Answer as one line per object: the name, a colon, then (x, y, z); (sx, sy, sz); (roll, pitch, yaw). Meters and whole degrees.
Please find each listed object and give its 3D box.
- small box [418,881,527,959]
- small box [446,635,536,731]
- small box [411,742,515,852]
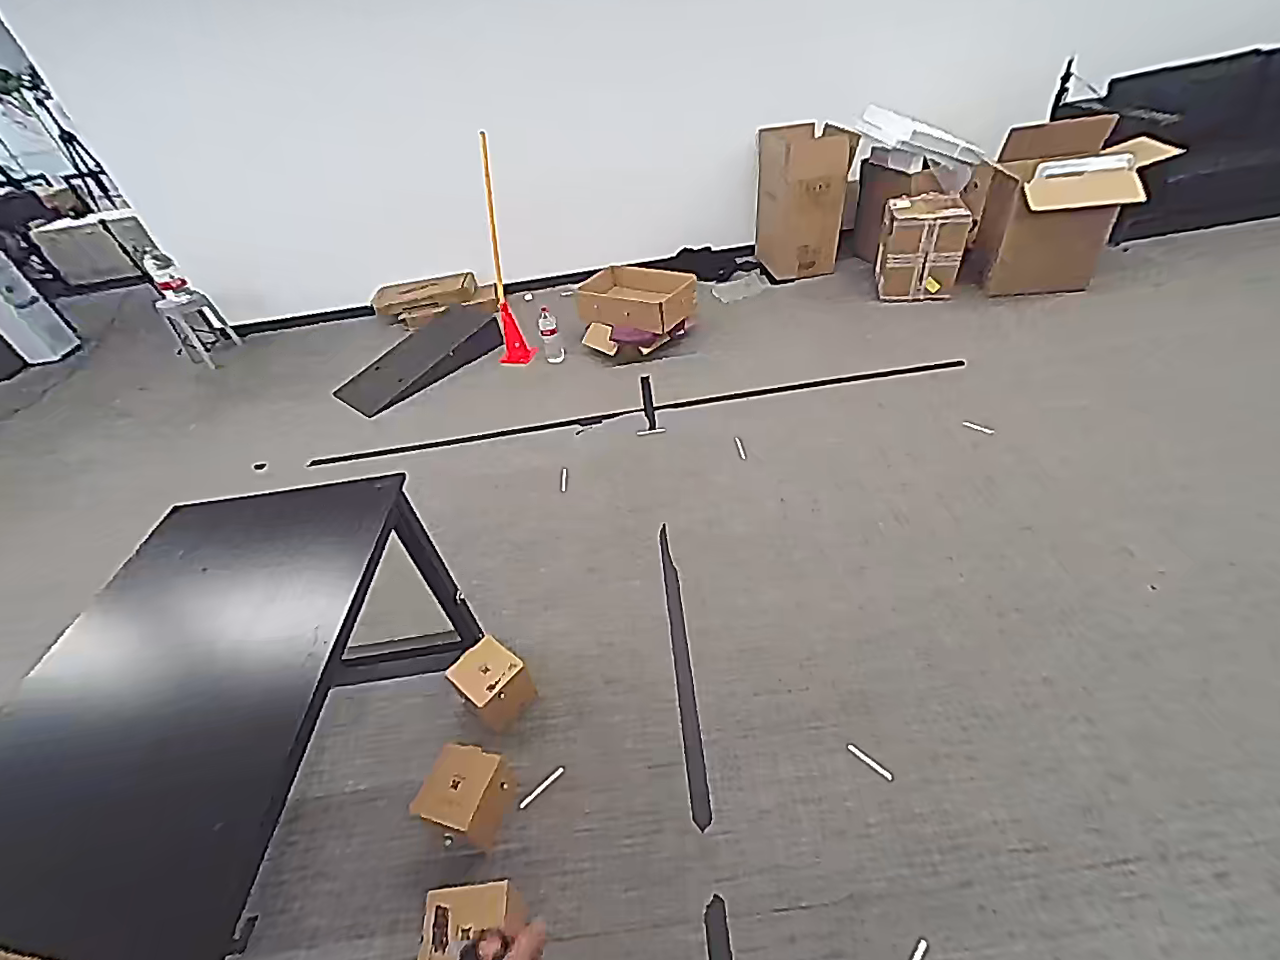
small box: (-0.352, 0.986, 1.152); (0.179, 0.176, 0.168); (-8, 41, 0)
small box: (-0.437, 0.606, 1.605); (0.179, 0.176, 0.168); (24, 51, 33)
small box: (-0.438, 0.806, 1.378); (0.168, 0.176, 0.179); (5, 44, 18)
